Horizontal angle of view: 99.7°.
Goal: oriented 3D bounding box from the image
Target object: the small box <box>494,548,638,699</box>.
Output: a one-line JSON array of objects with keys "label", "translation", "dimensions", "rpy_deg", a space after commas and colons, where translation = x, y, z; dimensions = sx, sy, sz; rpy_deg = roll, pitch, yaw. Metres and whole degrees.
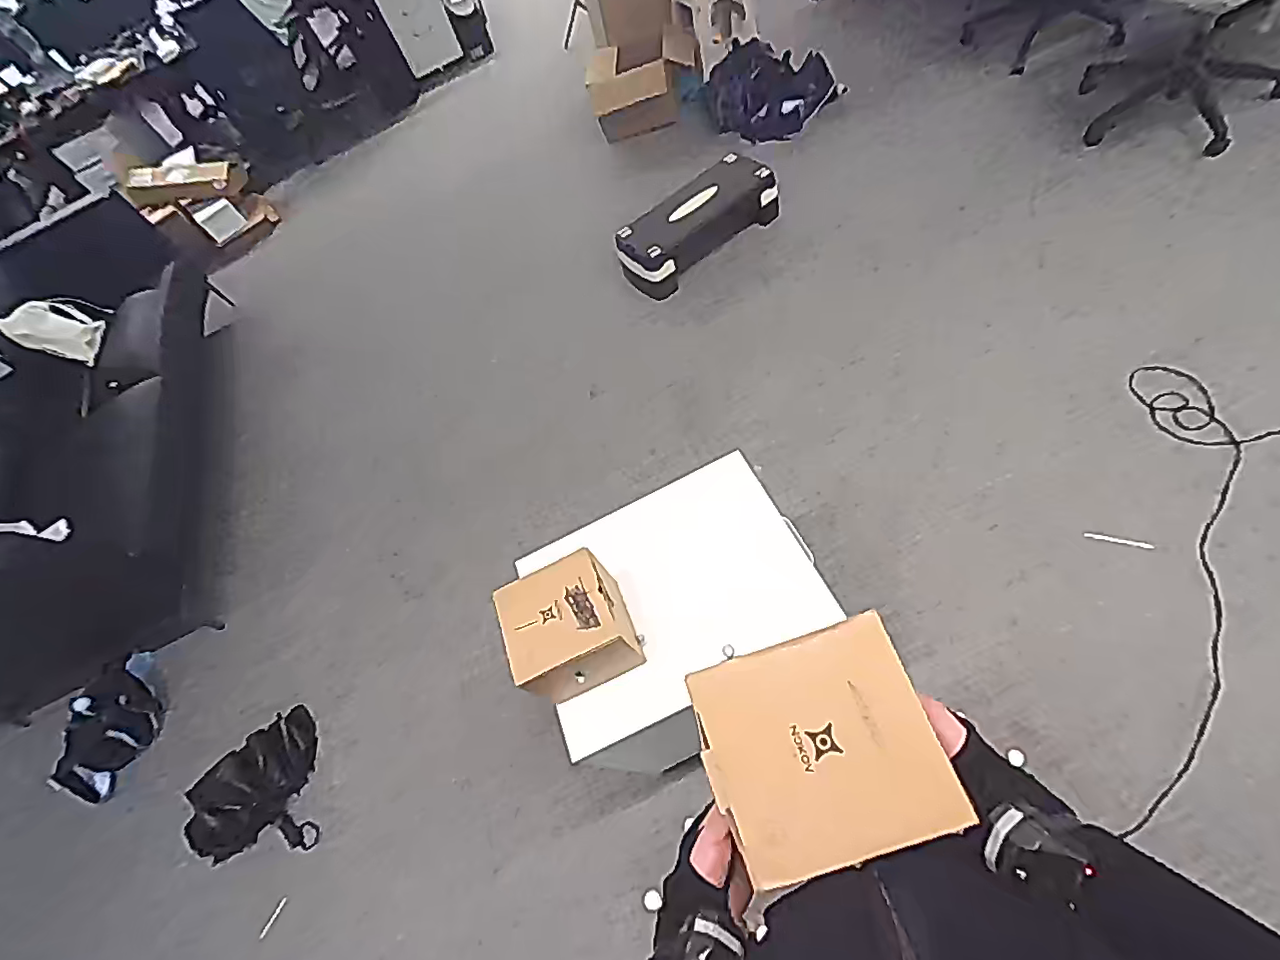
[{"label": "small box", "translation": [-0.116, 0.246, 0.908], "dimensions": [0.179, 0.176, 0.168], "rpy_deg": [-26, 56, 1]}]
